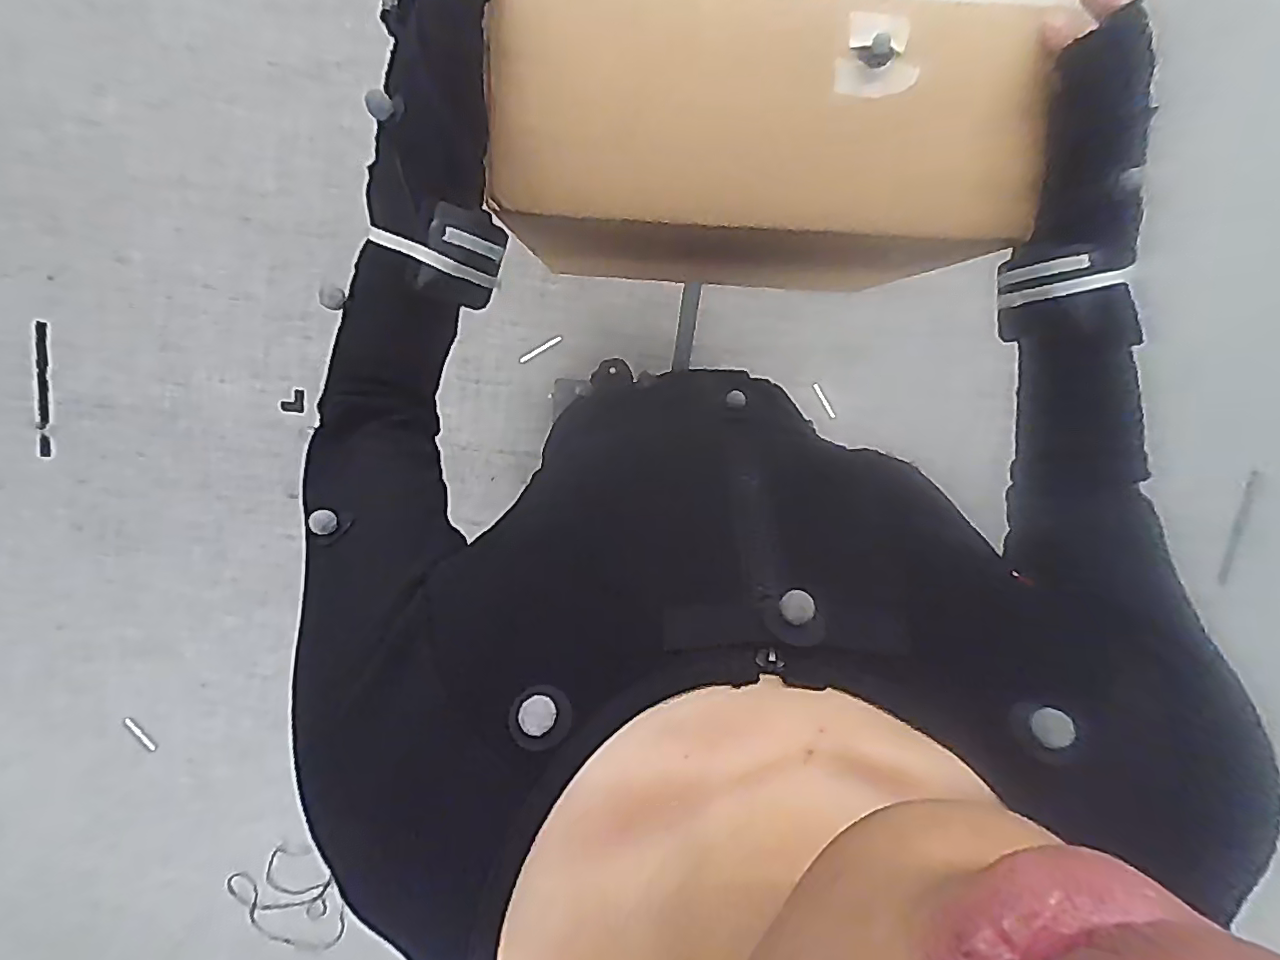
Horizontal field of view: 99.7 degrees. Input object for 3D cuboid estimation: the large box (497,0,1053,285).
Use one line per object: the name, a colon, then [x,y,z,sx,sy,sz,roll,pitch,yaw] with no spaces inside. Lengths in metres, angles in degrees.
large box: [0.092,-0.378,0.526,0.408,0.320,0.320,2,103,-2]

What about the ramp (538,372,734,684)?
ramp: [-0.040,0.197,1.623,0.509,0.206,0.991,5,101,-3]
